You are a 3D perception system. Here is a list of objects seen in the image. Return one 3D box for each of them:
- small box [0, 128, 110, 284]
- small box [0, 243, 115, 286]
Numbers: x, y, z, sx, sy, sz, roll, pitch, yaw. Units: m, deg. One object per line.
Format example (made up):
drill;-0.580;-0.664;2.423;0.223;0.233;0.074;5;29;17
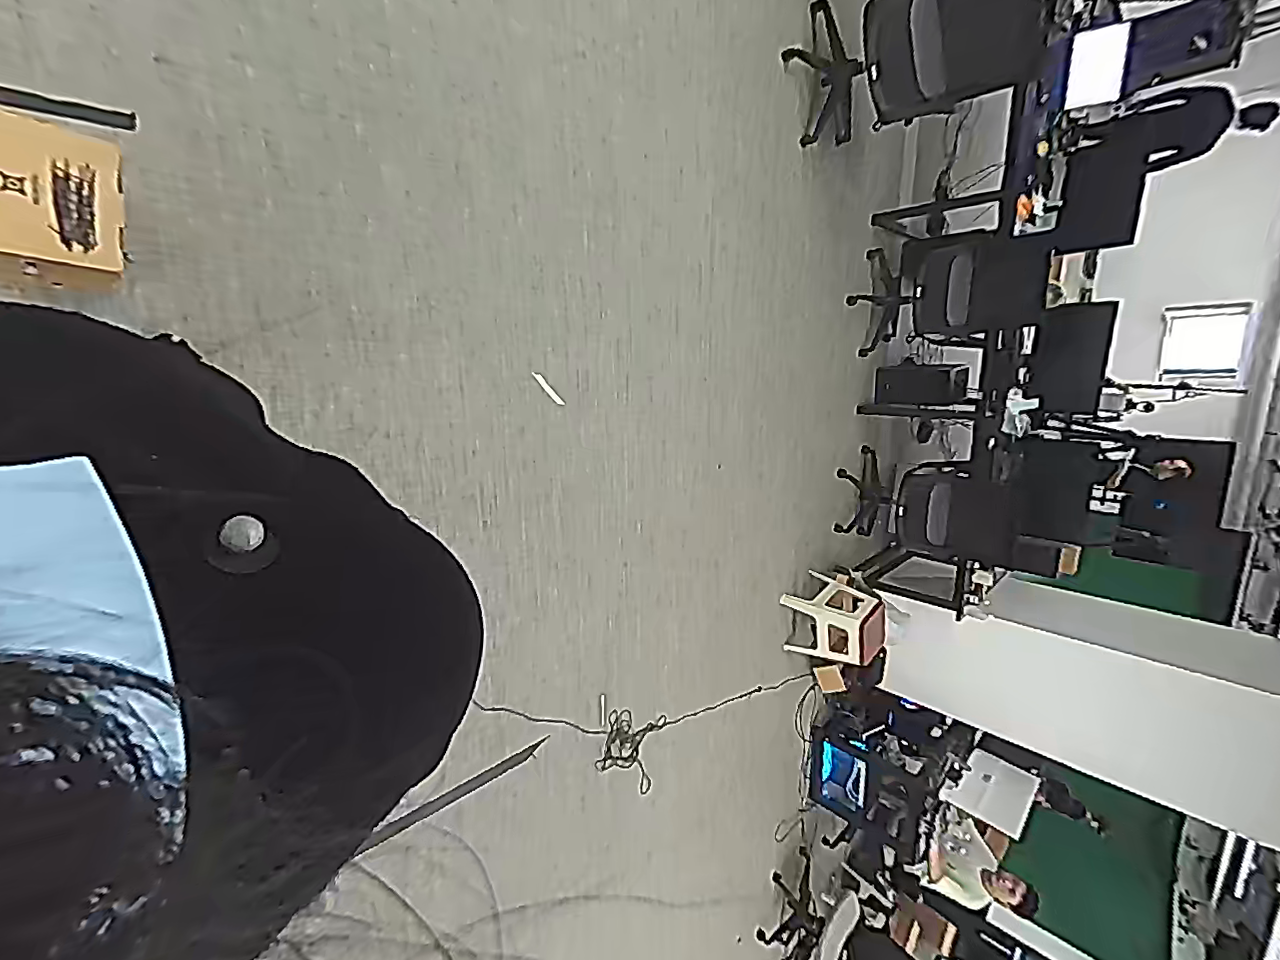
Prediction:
small box;-0.927;-0.409;0.819;0.168;0.176;0.179;-5;102;-45
small box;-1.039;-0.438;0.935;0.168;0.176;0.179;-14;108;-44
